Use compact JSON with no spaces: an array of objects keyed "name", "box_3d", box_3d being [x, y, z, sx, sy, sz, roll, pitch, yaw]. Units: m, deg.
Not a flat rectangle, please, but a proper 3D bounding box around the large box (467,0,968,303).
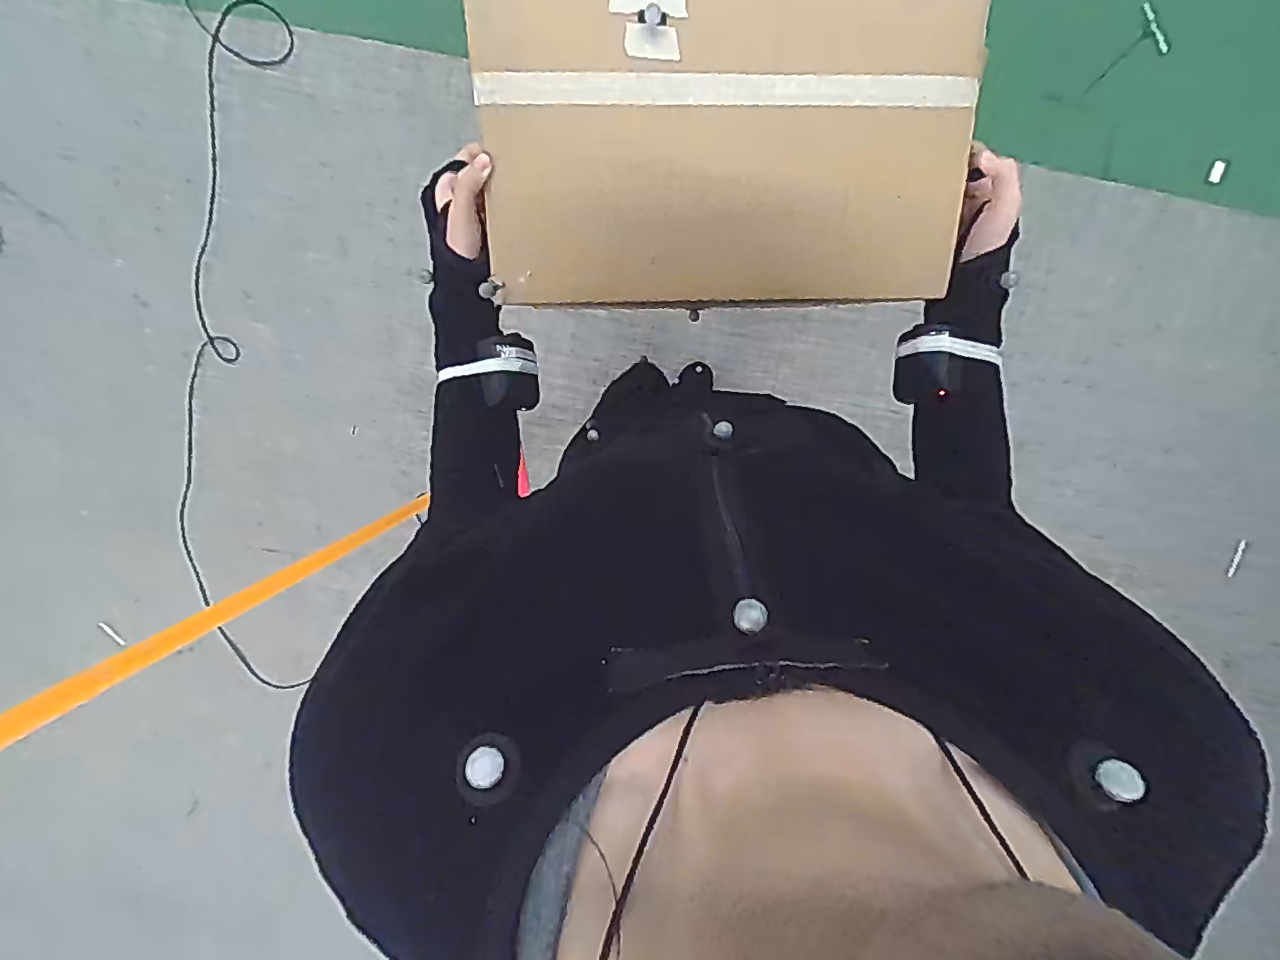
[{"name":"large box","box_3d":[0.059,-0.359,0.584,0.408,0.320,0.320,-2,106,-3]}]
